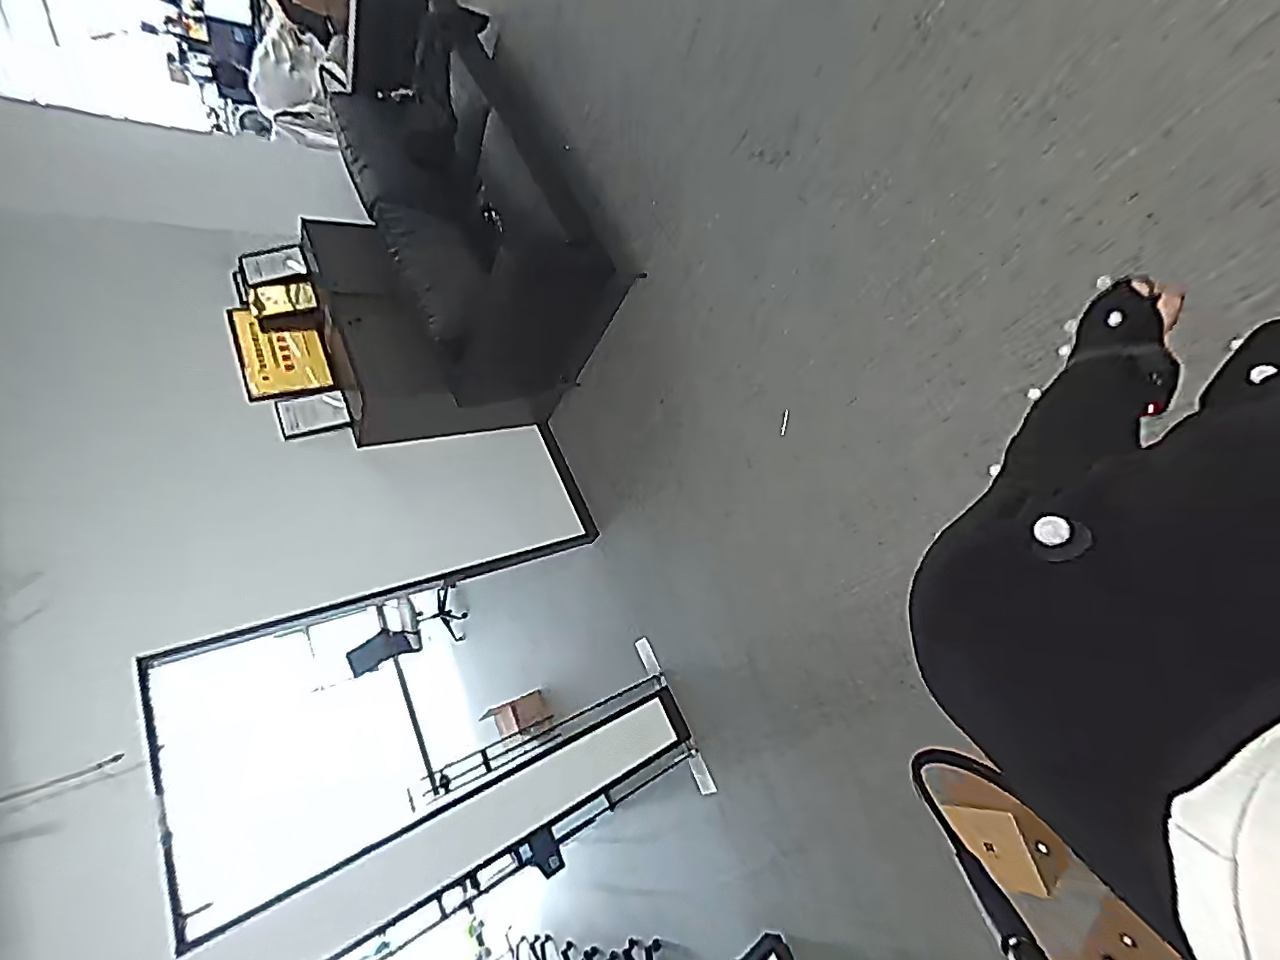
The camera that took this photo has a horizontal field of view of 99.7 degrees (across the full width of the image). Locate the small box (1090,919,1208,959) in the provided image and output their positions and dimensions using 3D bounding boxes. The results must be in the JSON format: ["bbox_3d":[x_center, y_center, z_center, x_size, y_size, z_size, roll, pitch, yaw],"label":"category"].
[{"bbox_3d":[1.127,1.093,1.167,0.179,0.176,0.168,-51,59,47],"label":"small box"}]

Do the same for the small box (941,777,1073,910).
[{"bbox_3d":[0.826,0.803,1.215,0.168,0.176,0.179,-32,73,50],"label":"small box"}]

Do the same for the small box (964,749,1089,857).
[{"bbox_3d":[0.945,0.777,1.322,0.168,0.176,0.179,-39,69,50],"label":"small box"}]
